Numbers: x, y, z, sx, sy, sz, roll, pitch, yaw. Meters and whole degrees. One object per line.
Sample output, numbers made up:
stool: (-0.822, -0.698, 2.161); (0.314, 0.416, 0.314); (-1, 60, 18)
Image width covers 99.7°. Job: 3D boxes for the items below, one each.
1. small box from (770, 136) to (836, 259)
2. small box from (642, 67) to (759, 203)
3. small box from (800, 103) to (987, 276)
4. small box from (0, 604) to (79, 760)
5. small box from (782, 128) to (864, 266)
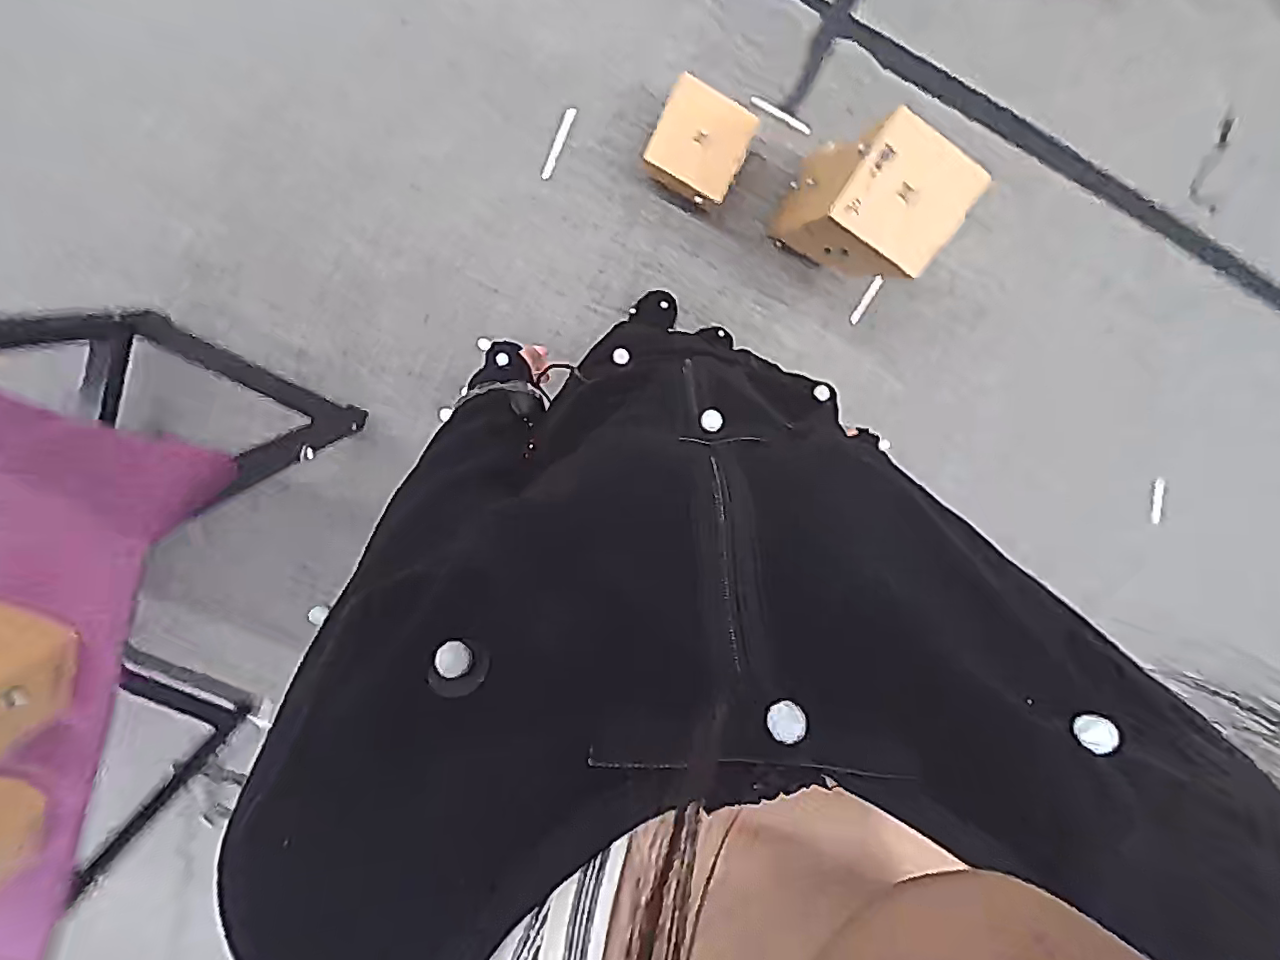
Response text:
small box: (0.398, -0.591, 1.162); (0.168, 0.176, 0.179); (24, 109, -9)
small box: (0.116, -0.700, 1.123); (0.179, 0.176, 0.168); (25, 109, -9)
small box: (0.390, -0.451, 0.864); (0.179, 0.176, 0.168); (30, 109, -12)
small box: (-0.931, 0.285, 0.734); (0.179, 0.176, 0.168); (24, 109, -8)
small box: (0.393, -0.514, 1.016); (0.179, 0.176, 0.168); (26, 110, -10)
